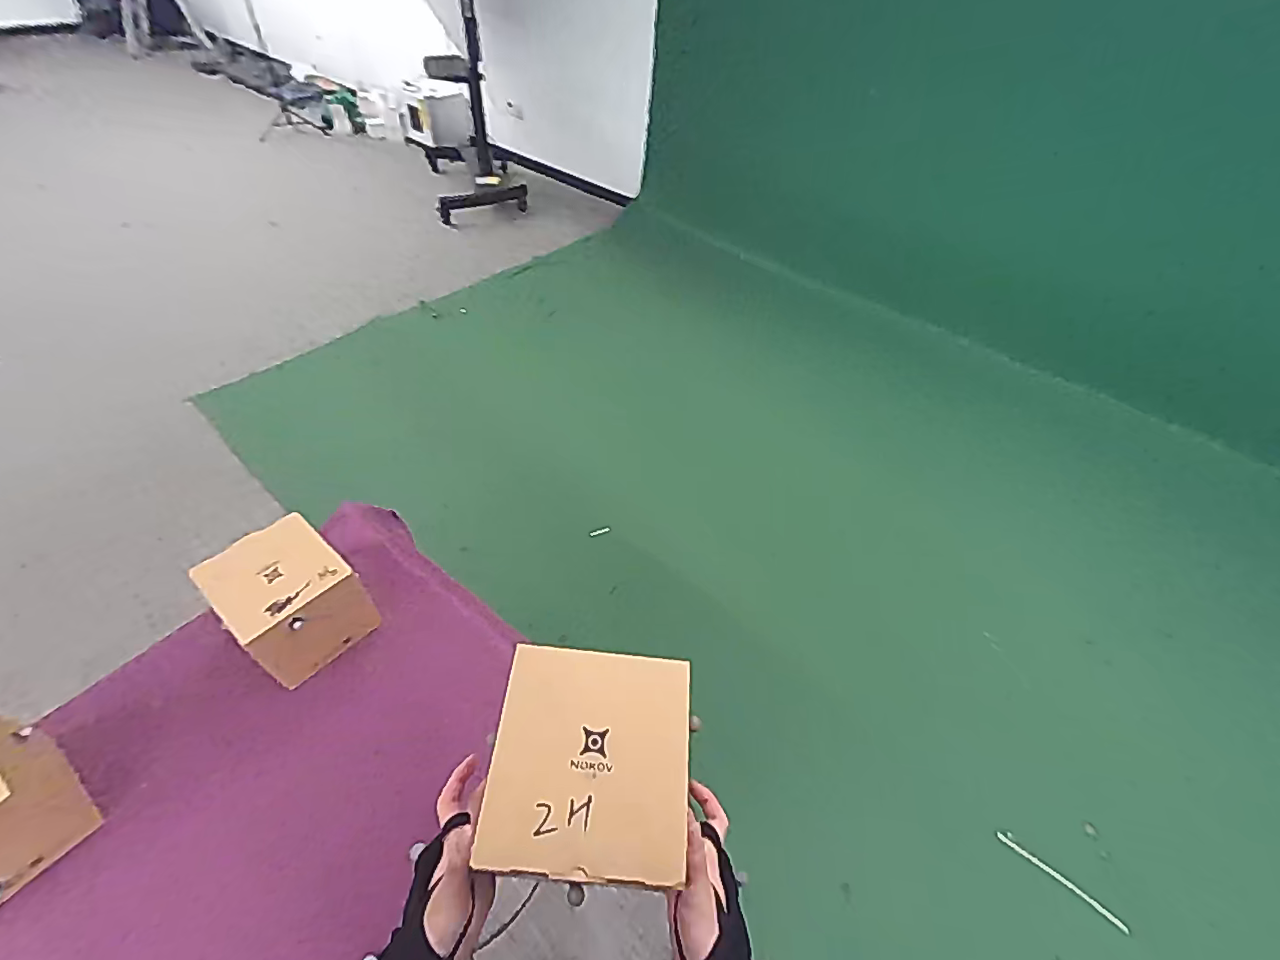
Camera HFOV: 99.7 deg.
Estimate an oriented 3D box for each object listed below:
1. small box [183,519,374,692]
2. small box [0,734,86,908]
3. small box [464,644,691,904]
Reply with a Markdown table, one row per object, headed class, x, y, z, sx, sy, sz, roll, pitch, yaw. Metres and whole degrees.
| class | x | y | z | sx | sy | sz | roll | pitch | yaw |
| --- | --- | --- | --- | --- | --- | --- | --- | --- | --- |
| small box | -0.565 | 0.202 | 0.865 | 0.179 | 0.176 | 0.168 | 34 | 53 | 24 |
| small box | -0.832 | 0.417 | 0.637 | 0.179 | 0.176 | 0.168 | 32 | 52 | 21 |
| small box | -0.049 | 0.278 | 0.508 | 0.168 | 0.176 | 0.179 | 7 | 51 | 0 |
